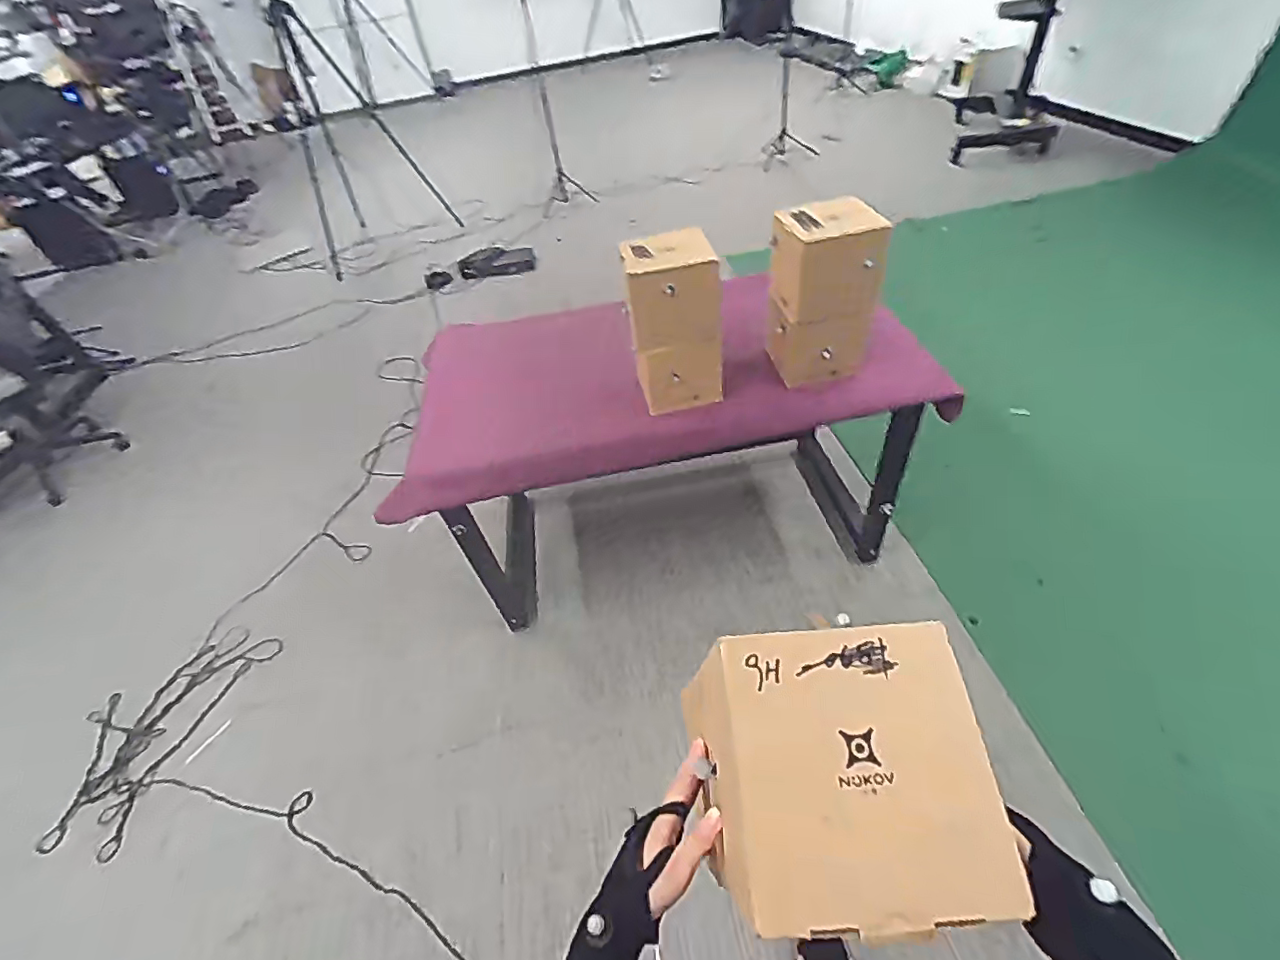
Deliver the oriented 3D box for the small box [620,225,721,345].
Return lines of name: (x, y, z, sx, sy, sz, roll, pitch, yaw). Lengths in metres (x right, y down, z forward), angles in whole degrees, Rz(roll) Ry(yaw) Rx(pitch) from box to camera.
small box: (0.063, -0.392, 1.101, 0.179, 0.176, 0.168, -10, 45, 0)

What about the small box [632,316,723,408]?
small box: (0.085, -0.279, 1.219, 0.168, 0.176, 0.179, -13, 44, -2)

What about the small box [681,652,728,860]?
small box: (0.138, 0.281, 0.575, 0.168, 0.176, 0.179, -3, 64, -2)

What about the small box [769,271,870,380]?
small box: (0.395, -0.341, 1.219, 0.168, 0.176, 0.179, -10, 45, 1)

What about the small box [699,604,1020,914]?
small box: (0.142, 0.206, 0.426, 0.168, 0.176, 0.179, -4, 65, -1)
